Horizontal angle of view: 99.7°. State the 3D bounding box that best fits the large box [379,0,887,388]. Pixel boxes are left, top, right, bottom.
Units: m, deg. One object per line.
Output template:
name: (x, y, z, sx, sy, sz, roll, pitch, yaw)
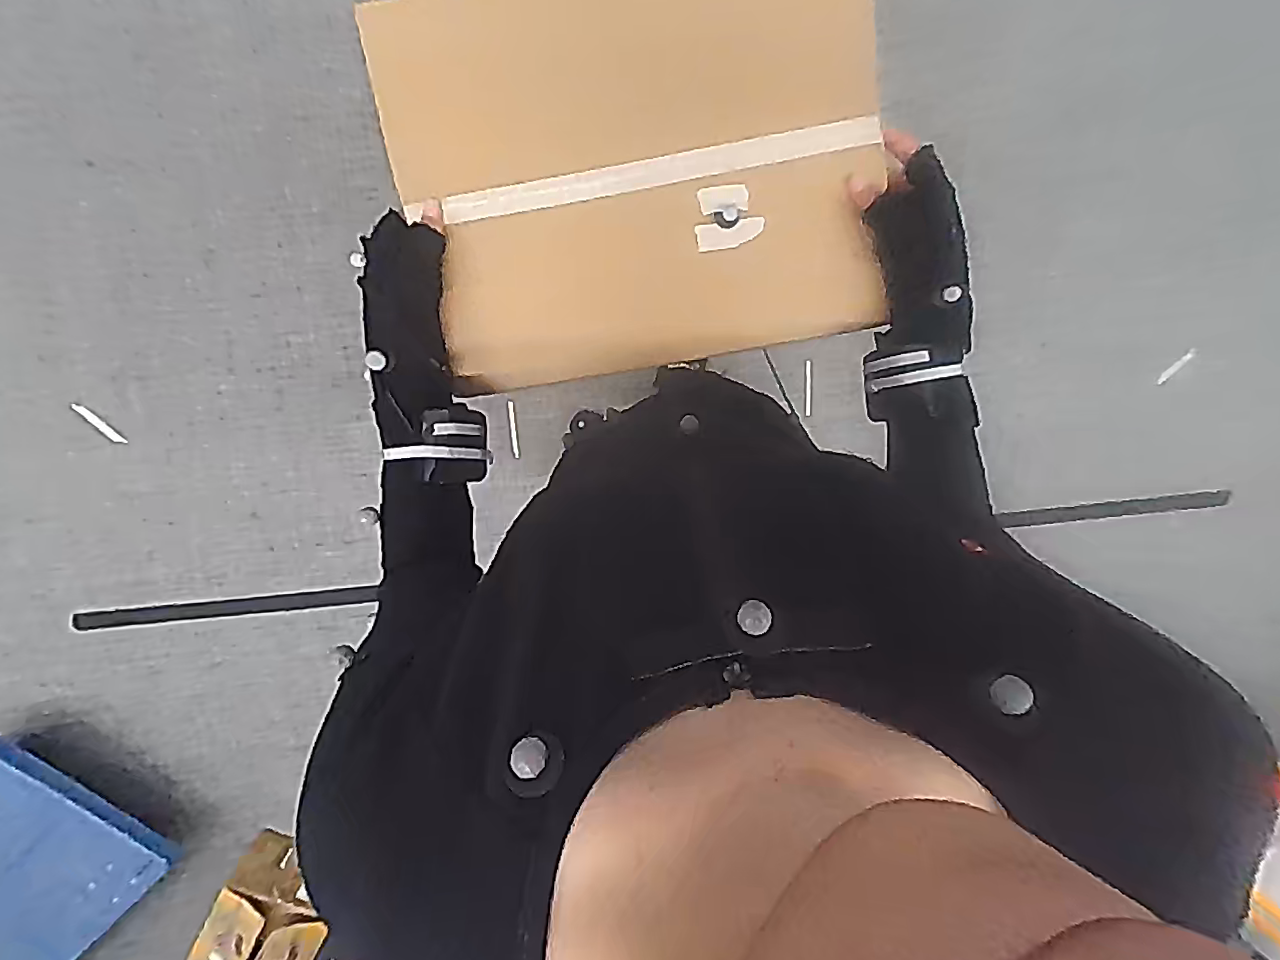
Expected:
large box: (0.003, -0.299, 0.611, 0.408, 0.320, 0.320, -10, 104, 1)
